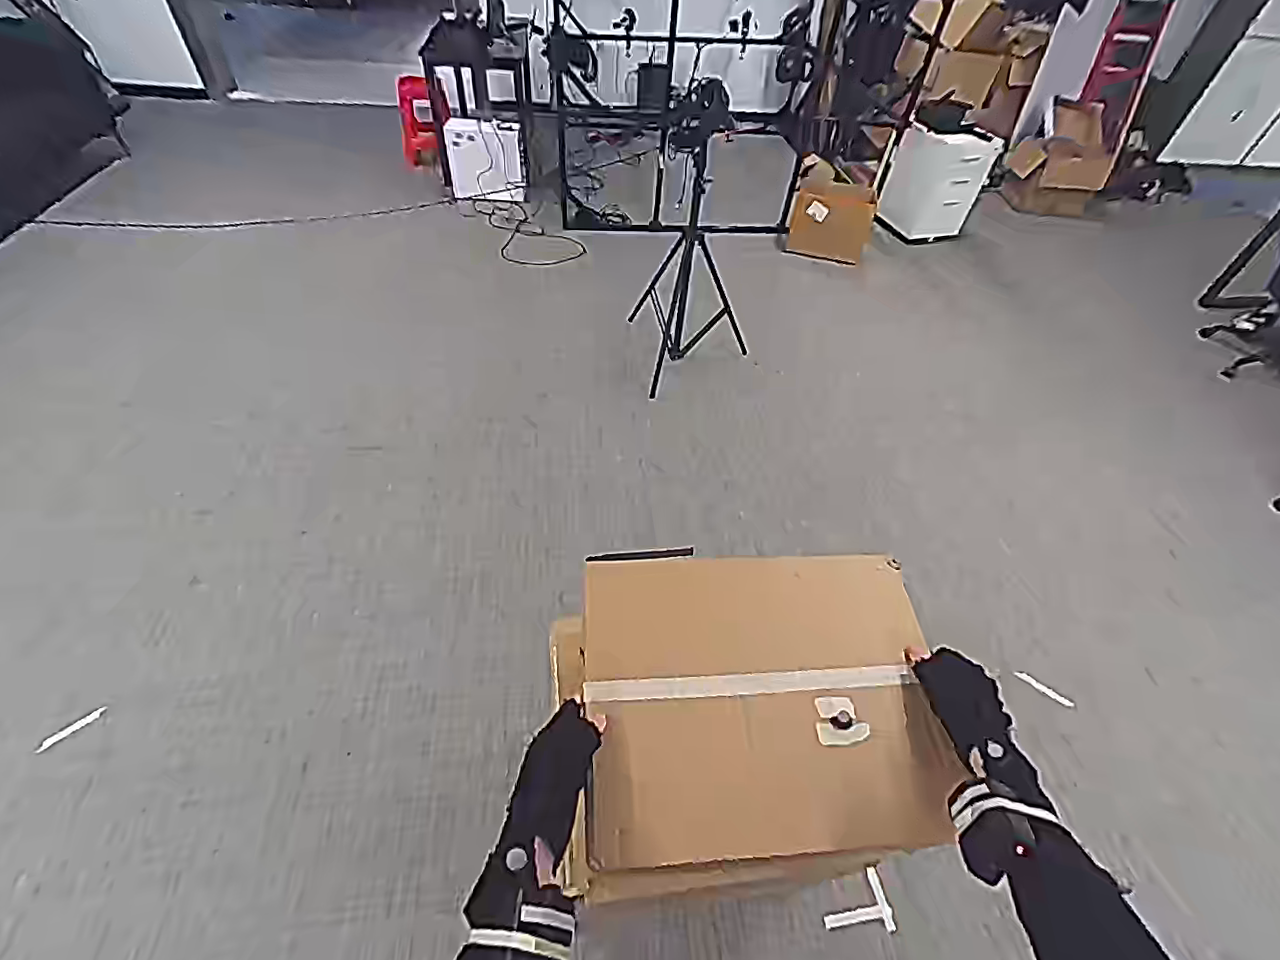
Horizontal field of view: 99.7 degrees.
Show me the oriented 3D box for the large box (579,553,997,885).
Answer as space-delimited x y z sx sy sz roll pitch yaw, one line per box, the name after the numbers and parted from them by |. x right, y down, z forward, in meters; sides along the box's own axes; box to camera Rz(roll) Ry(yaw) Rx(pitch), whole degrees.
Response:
0.127 0.312 0.708 0.408 0.320 0.320 -1 53 -7 | large box
